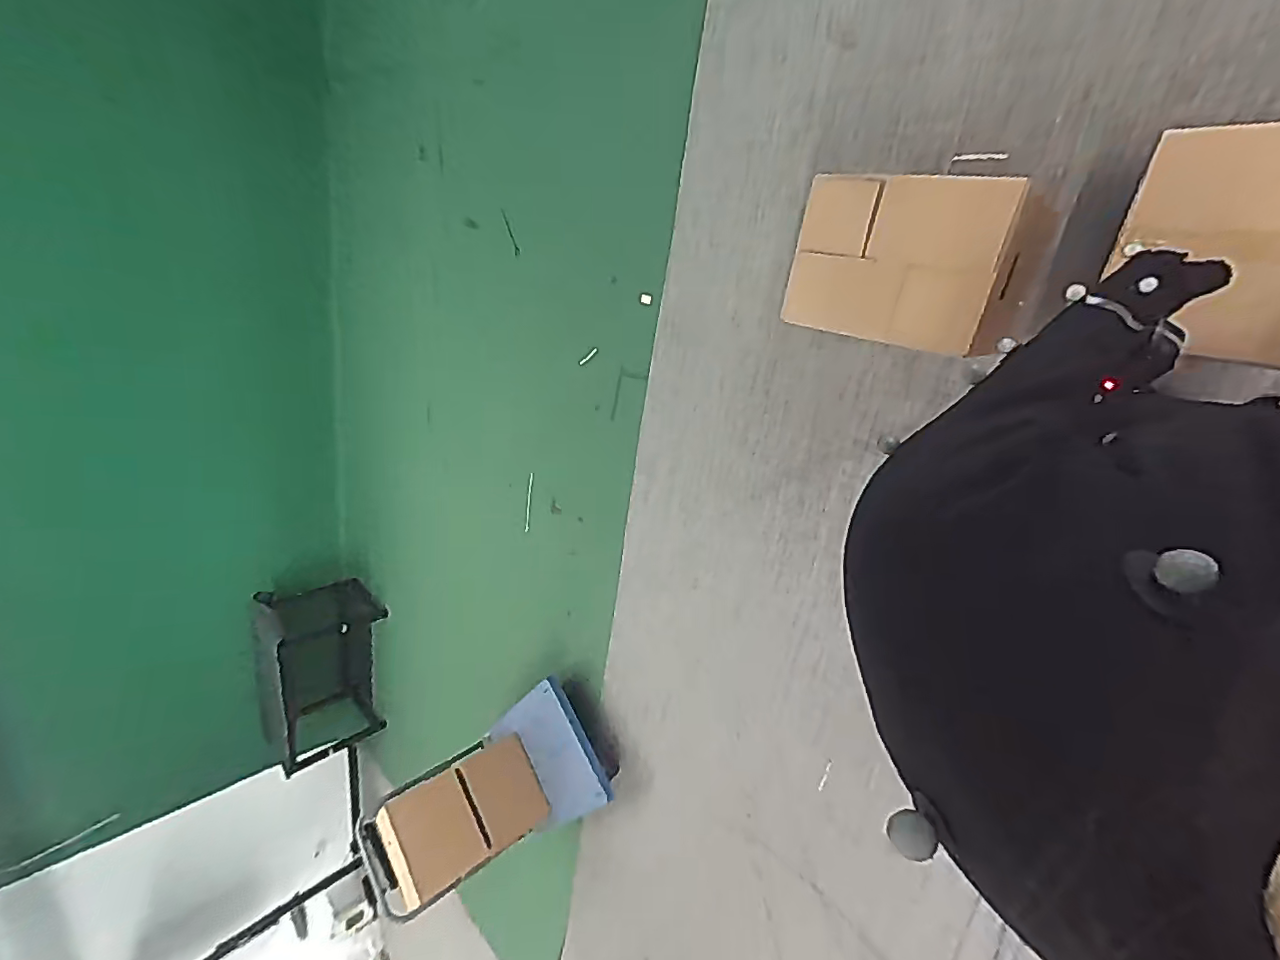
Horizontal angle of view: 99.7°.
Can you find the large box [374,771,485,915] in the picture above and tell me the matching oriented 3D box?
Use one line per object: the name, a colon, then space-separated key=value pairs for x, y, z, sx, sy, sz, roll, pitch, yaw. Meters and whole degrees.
large box: x=-0.924 y=1.574 z=2.359 sx=0.408 sy=0.320 sz=0.320 roll=56 pitch=135 yaw=22
